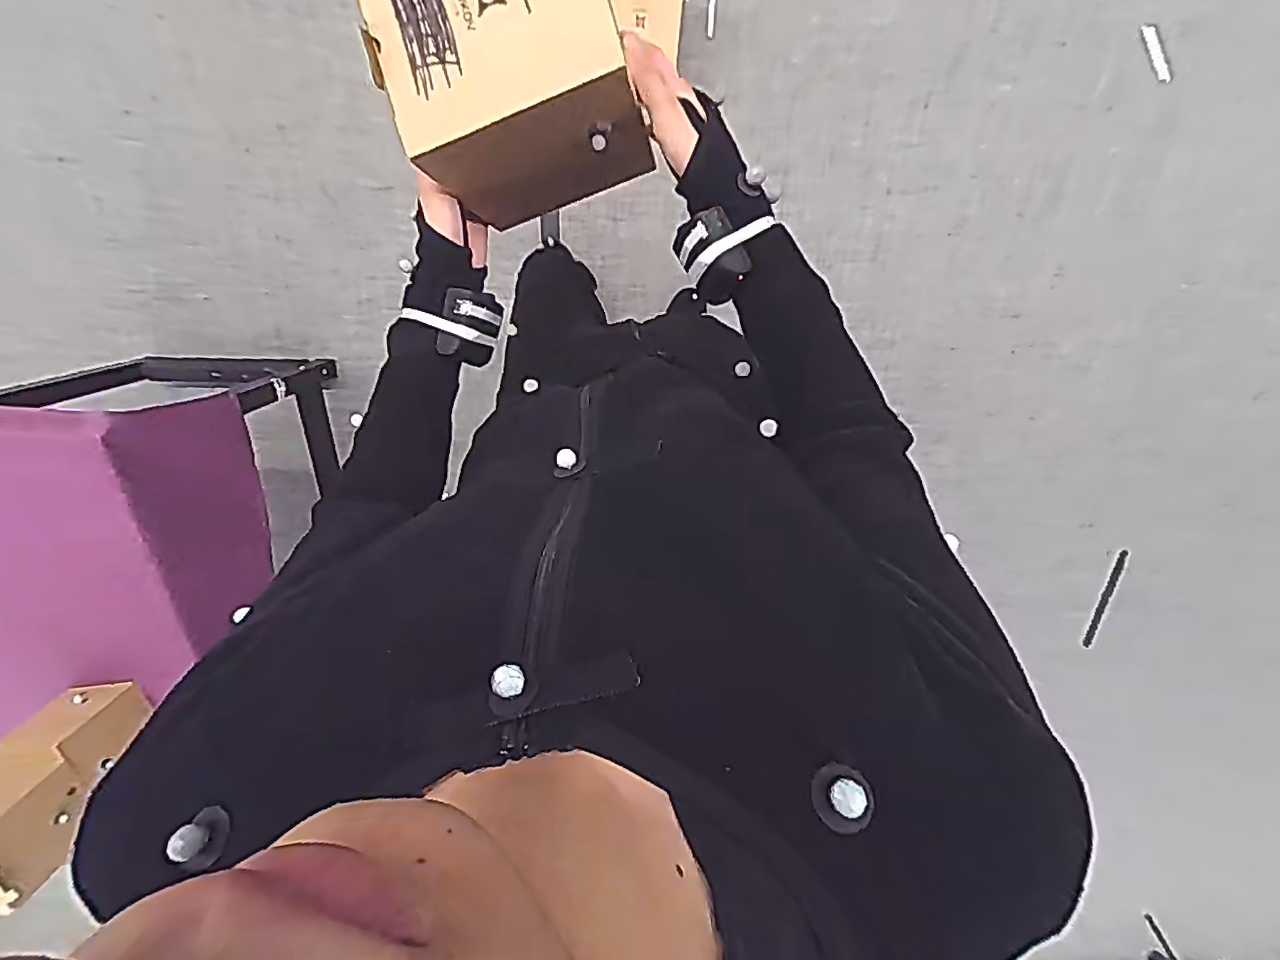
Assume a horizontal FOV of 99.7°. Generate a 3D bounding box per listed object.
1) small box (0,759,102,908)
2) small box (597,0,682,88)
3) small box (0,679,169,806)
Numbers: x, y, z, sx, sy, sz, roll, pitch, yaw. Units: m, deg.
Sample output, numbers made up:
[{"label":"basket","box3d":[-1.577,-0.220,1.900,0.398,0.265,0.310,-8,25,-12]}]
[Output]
[{"label":"small box","box3d":[-1.153,0.628,0.973,0.179,0.176,0.168,-3,115,4]},{"label":"small box","box3d":[0.002,-0.982,1.179,0.168,0.176,0.179,5,114,0]},{"label":"small box","box3d":[-1.139,0.540,1.113,0.168,0.176,0.179,-8,113,6]}]
